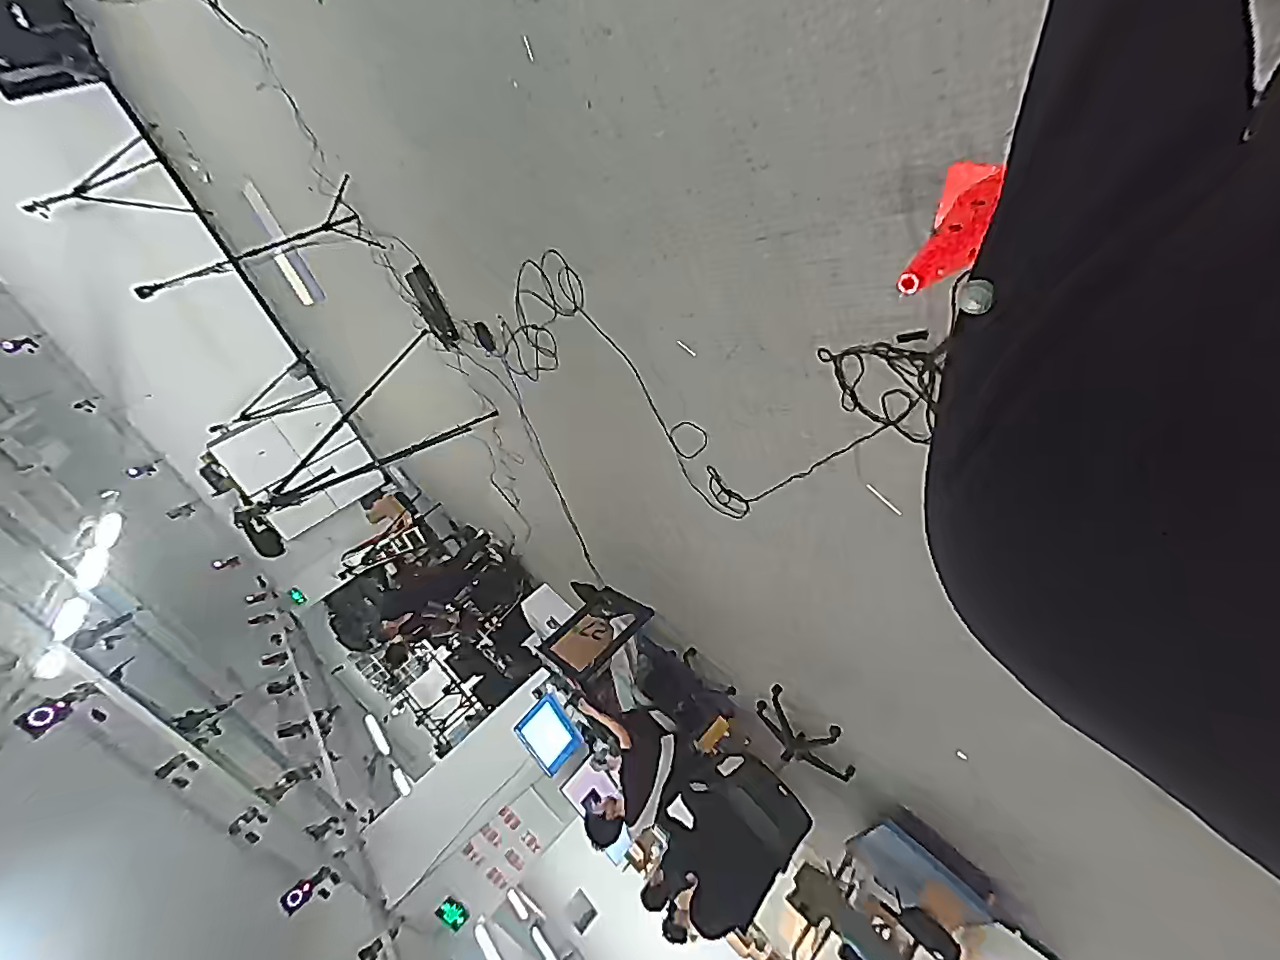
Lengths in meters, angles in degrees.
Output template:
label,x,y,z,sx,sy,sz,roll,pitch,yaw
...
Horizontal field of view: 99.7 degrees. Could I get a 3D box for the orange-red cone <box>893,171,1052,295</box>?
label,x,y,z,sx,sy,sz,roll,pitch,yaw
orange-red cone,0.599,-0.441,1.057,0.199,0.360,0.198,35,147,34
